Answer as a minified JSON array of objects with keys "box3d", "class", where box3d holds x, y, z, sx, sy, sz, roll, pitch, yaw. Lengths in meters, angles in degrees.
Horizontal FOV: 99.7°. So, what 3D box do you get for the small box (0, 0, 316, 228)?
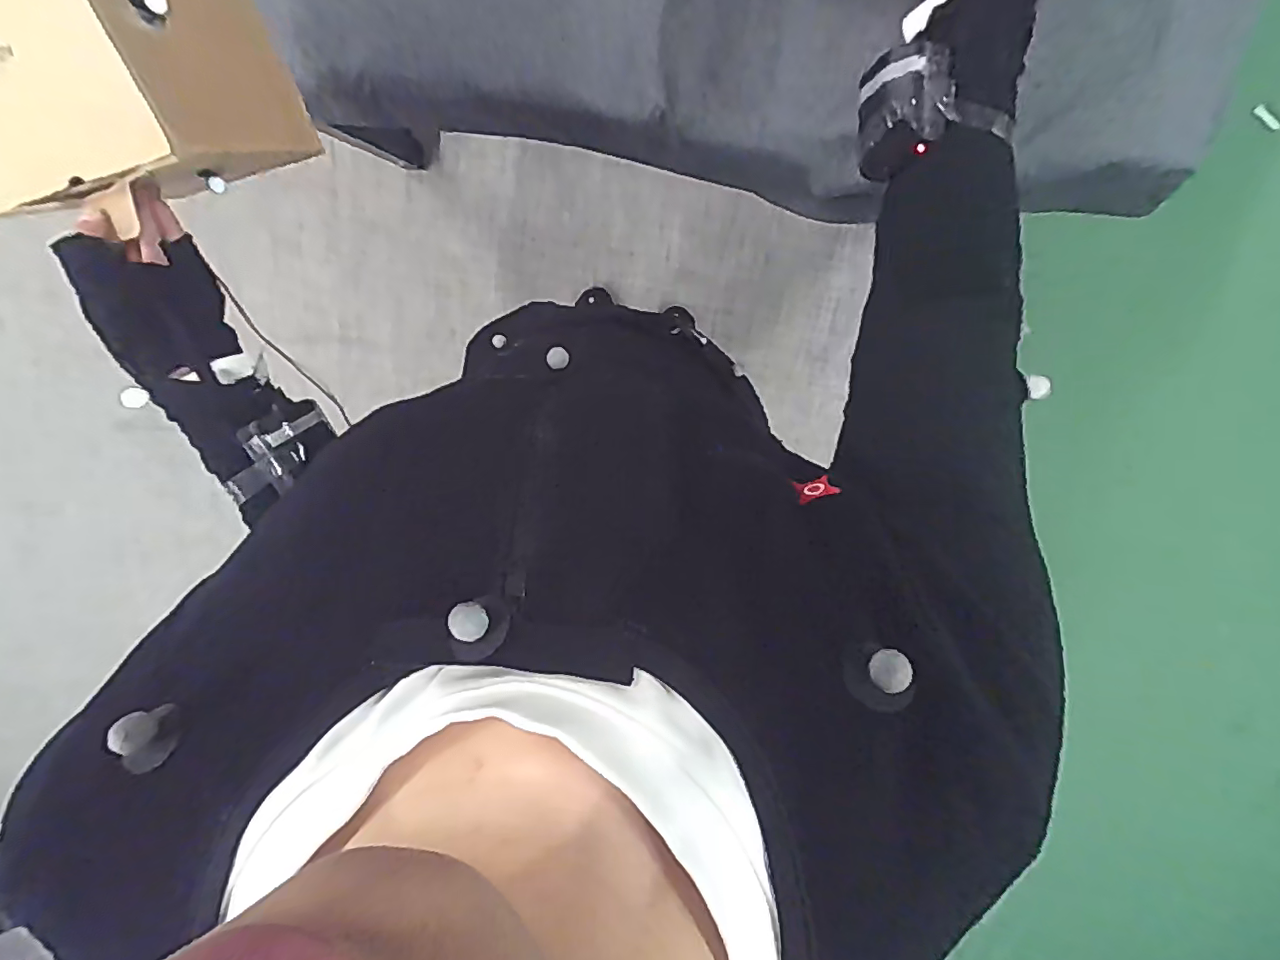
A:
[{"box3d":[-0.380,-0.300,0.383,0.168,0.176,0.179,-10,119,11],"class":"small box"}]
